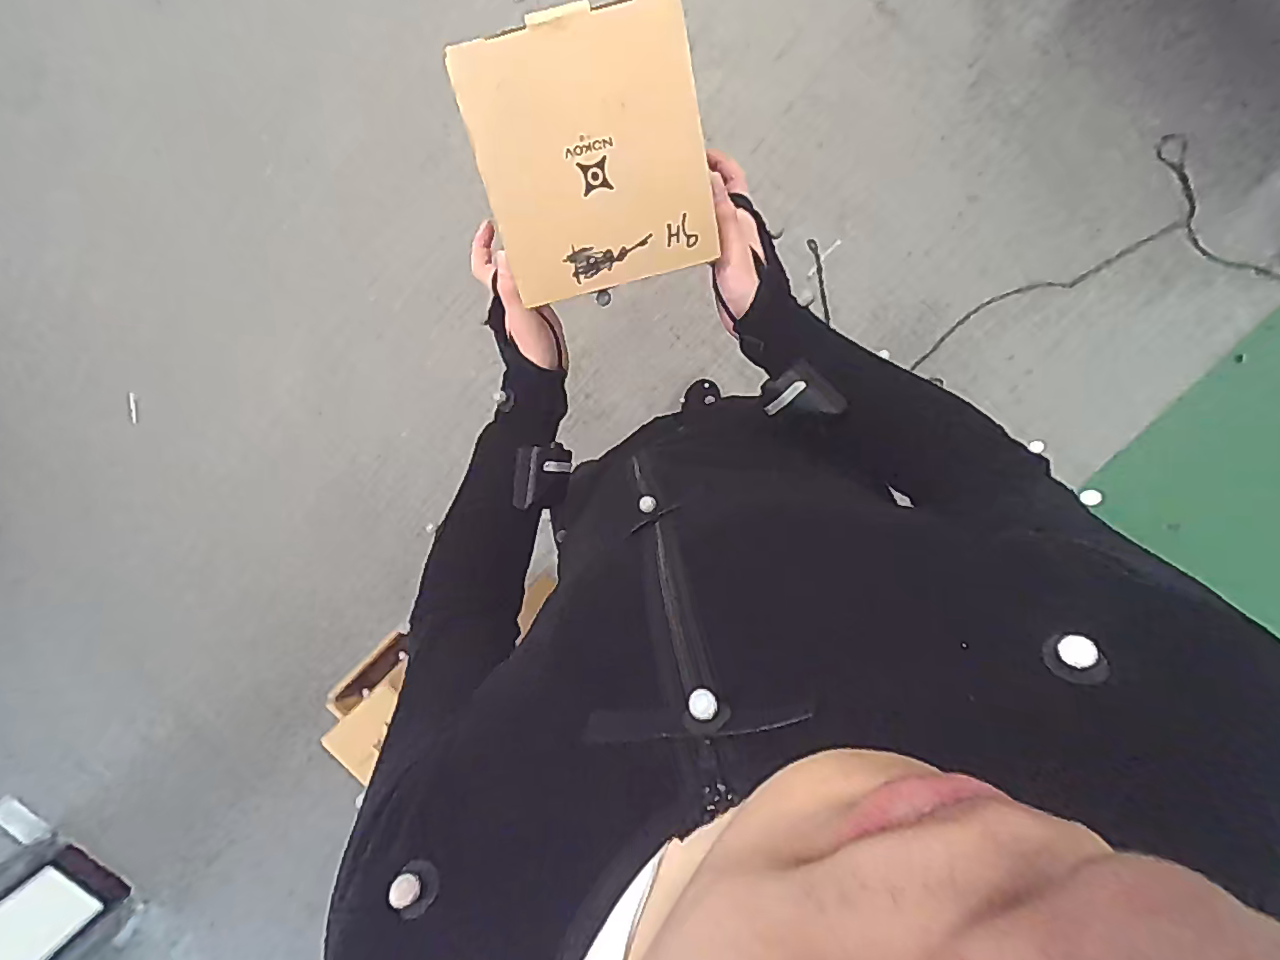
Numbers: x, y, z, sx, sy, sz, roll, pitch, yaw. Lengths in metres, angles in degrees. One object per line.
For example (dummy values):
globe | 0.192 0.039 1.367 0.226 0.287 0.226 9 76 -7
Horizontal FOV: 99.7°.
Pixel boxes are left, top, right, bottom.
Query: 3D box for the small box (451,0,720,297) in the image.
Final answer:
small box | -0.036 -0.270 0.467 0.168 0.176 0.179 -12 114 4

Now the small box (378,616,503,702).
small box | -0.440 0.443 1.219 0.179 0.176 0.168 -43 93 8

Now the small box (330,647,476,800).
small box | -0.446 0.463 1.056 0.179 0.176 0.168 -42 92 8
